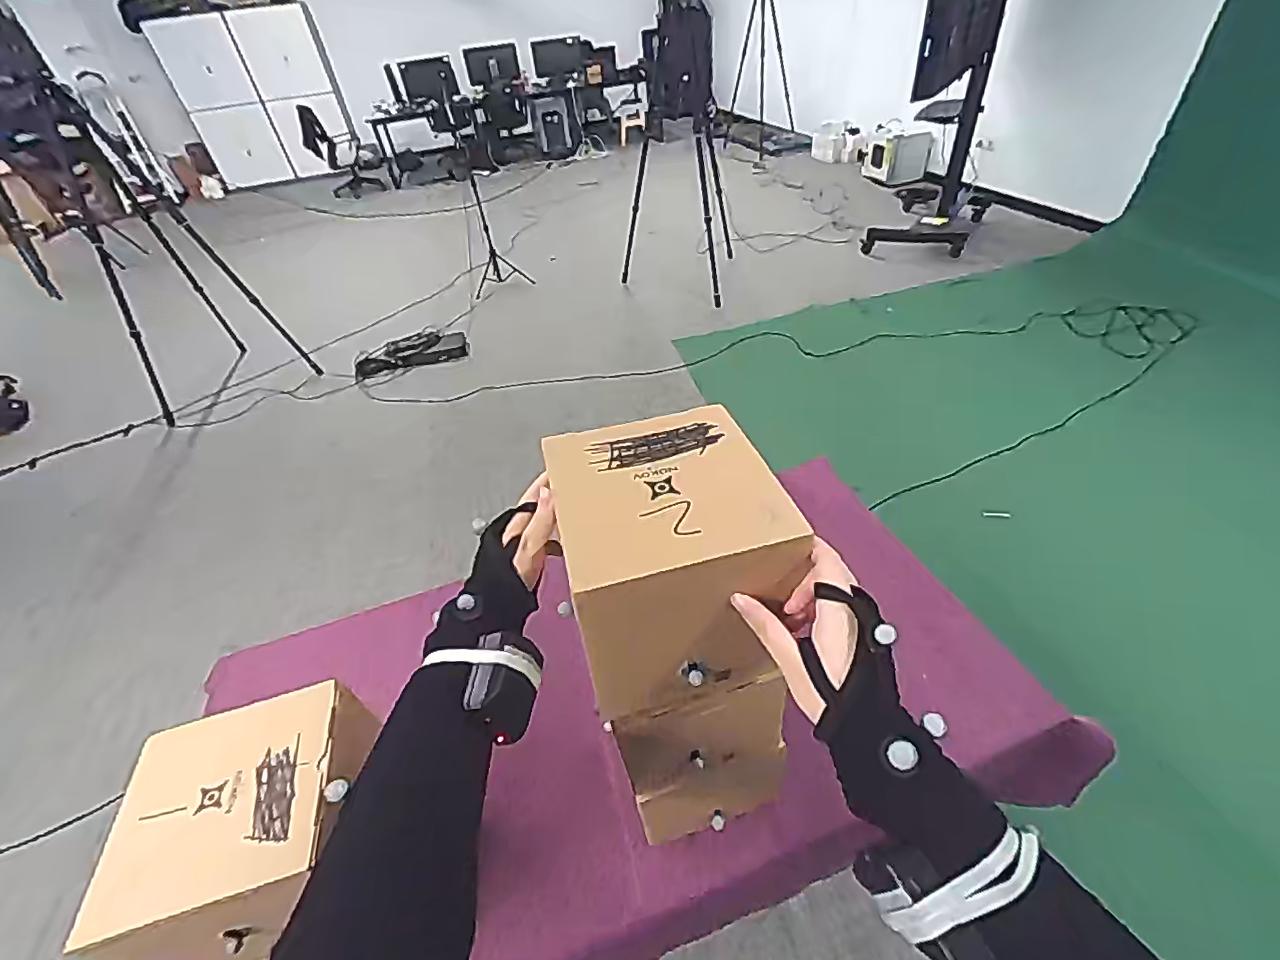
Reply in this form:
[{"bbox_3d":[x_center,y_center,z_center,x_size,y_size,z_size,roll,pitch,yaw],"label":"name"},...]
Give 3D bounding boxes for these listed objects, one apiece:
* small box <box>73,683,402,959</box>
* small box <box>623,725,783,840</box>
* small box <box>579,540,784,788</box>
[{"bbox_3d":[-0.345,0.330,0.516,0.179,0.176,0.168,-16,43,-8],"label":"small box"},{"bbox_3d":[0.063,0.327,0.700,0.179,0.176,0.168,-16,42,-9],"label":"small box"},{"bbox_3d":[0.040,0.200,0.598,0.168,0.176,0.179,-16,43,-8],"label":"small box"}]
